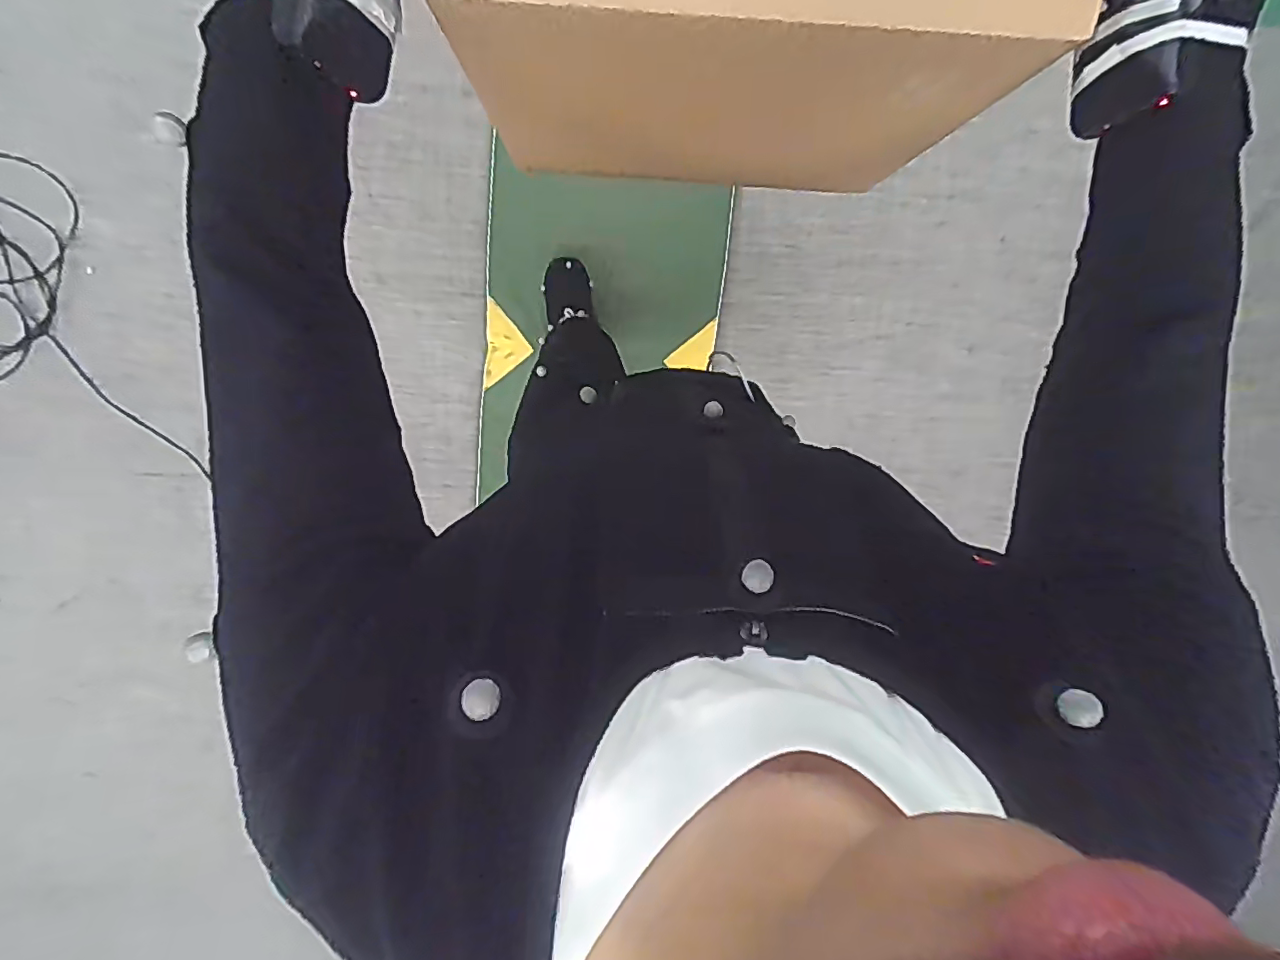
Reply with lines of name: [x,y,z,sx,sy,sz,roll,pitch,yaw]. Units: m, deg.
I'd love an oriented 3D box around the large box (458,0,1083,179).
large box: [0.076,-0.469,0.446,0.408,0.320,0.320,1,103,-3]
